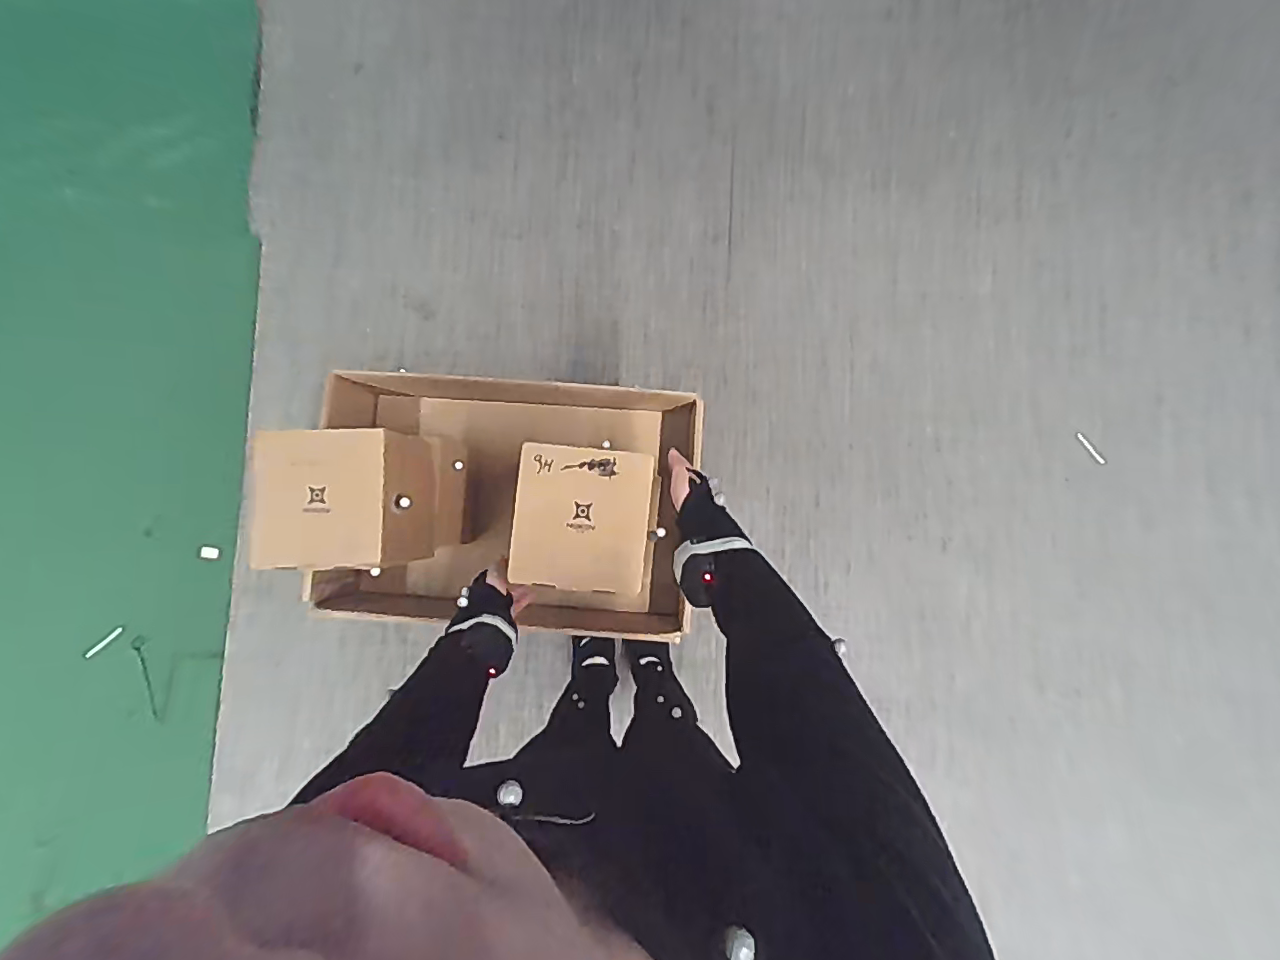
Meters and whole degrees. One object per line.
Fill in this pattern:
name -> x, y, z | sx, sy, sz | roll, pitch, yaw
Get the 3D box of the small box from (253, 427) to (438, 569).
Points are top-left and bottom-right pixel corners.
small box -> -0.392, 0.025, 0.747 | 0.168, 0.176, 0.179 | 0, 87, 1
